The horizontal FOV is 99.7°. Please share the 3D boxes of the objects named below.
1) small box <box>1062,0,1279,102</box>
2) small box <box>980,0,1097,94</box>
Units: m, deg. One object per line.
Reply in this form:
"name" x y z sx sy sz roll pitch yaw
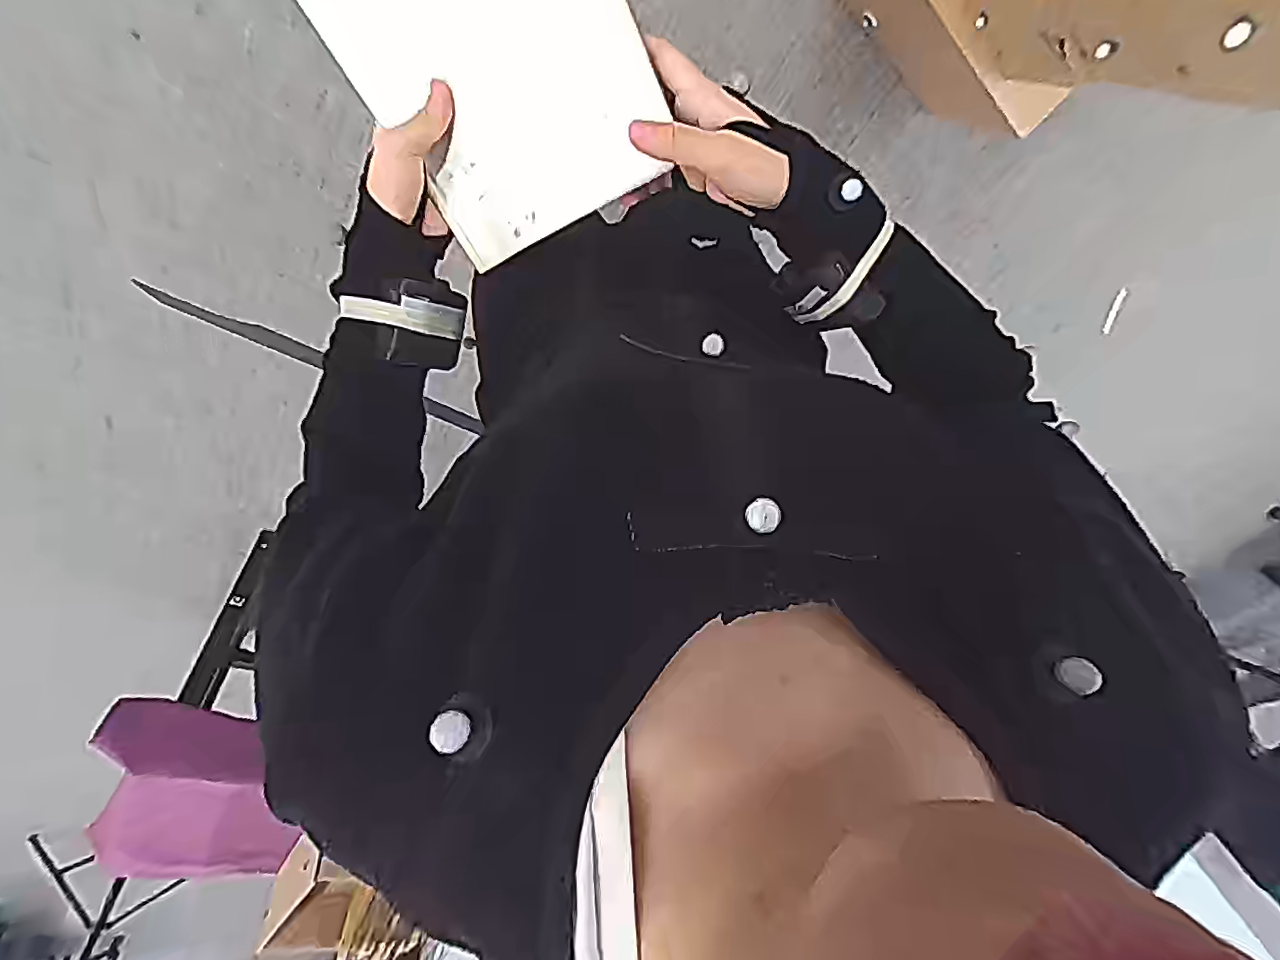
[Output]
"small box" 0.675 -0.622 0.670 0.168 0.176 0.179 23 124 -31
"small box" 0.647 -0.721 0.800 0.168 0.176 0.179 28 119 -30
